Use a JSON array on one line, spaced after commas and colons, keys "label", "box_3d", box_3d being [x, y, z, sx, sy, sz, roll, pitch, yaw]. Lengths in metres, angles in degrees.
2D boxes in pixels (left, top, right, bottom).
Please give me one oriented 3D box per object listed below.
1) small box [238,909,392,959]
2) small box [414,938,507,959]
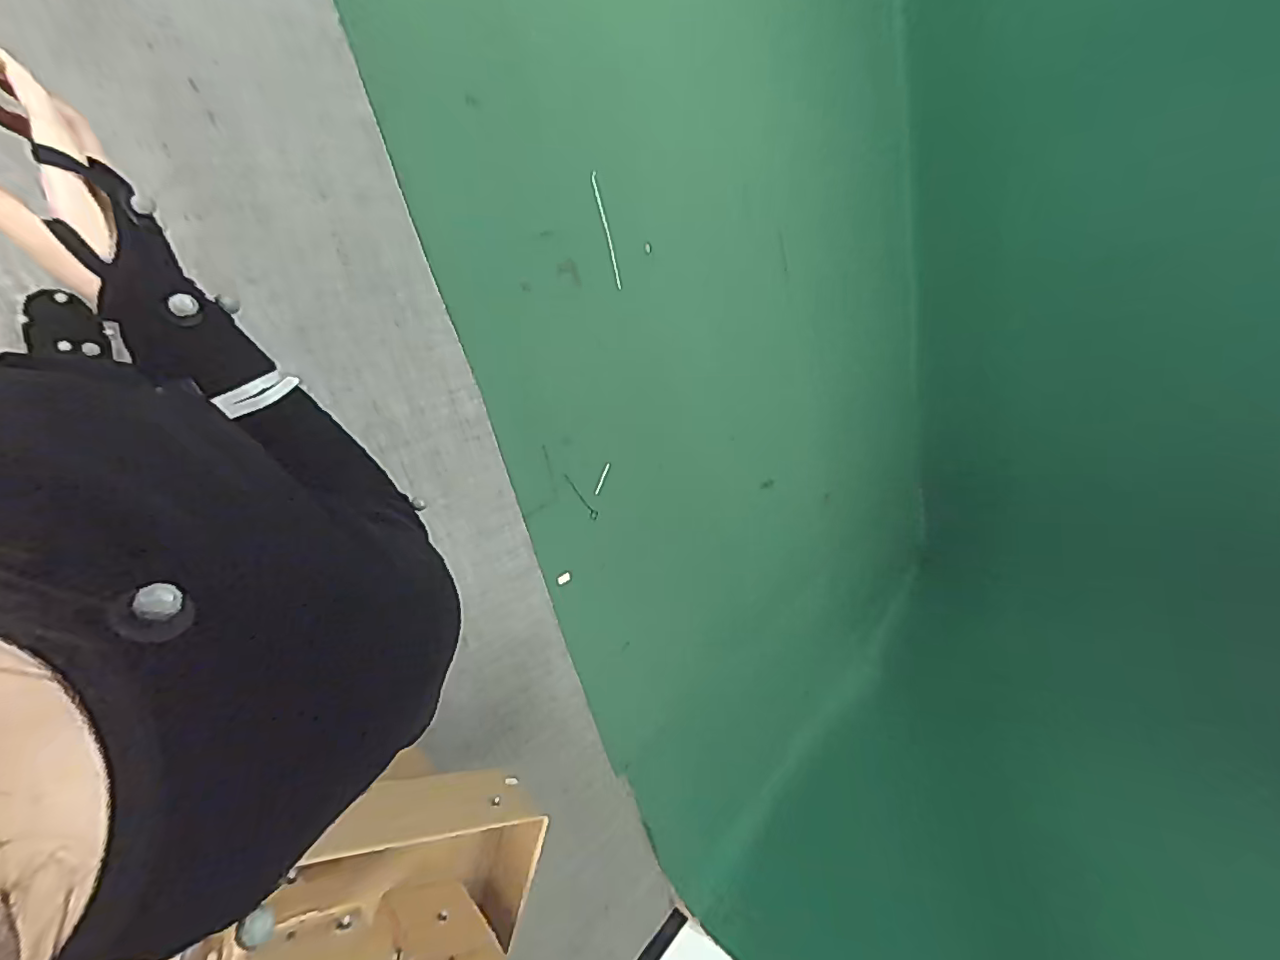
[{"label": "small box", "box_3d": [-0.477, 0.757, 0.764, 0.168, 0.176, 0.179, 19, 84, -43]}, {"label": "small box", "box_3d": [-0.322, 0.954, 0.947, 0.168, 0.176, 0.179, 24, 81, -40]}]
